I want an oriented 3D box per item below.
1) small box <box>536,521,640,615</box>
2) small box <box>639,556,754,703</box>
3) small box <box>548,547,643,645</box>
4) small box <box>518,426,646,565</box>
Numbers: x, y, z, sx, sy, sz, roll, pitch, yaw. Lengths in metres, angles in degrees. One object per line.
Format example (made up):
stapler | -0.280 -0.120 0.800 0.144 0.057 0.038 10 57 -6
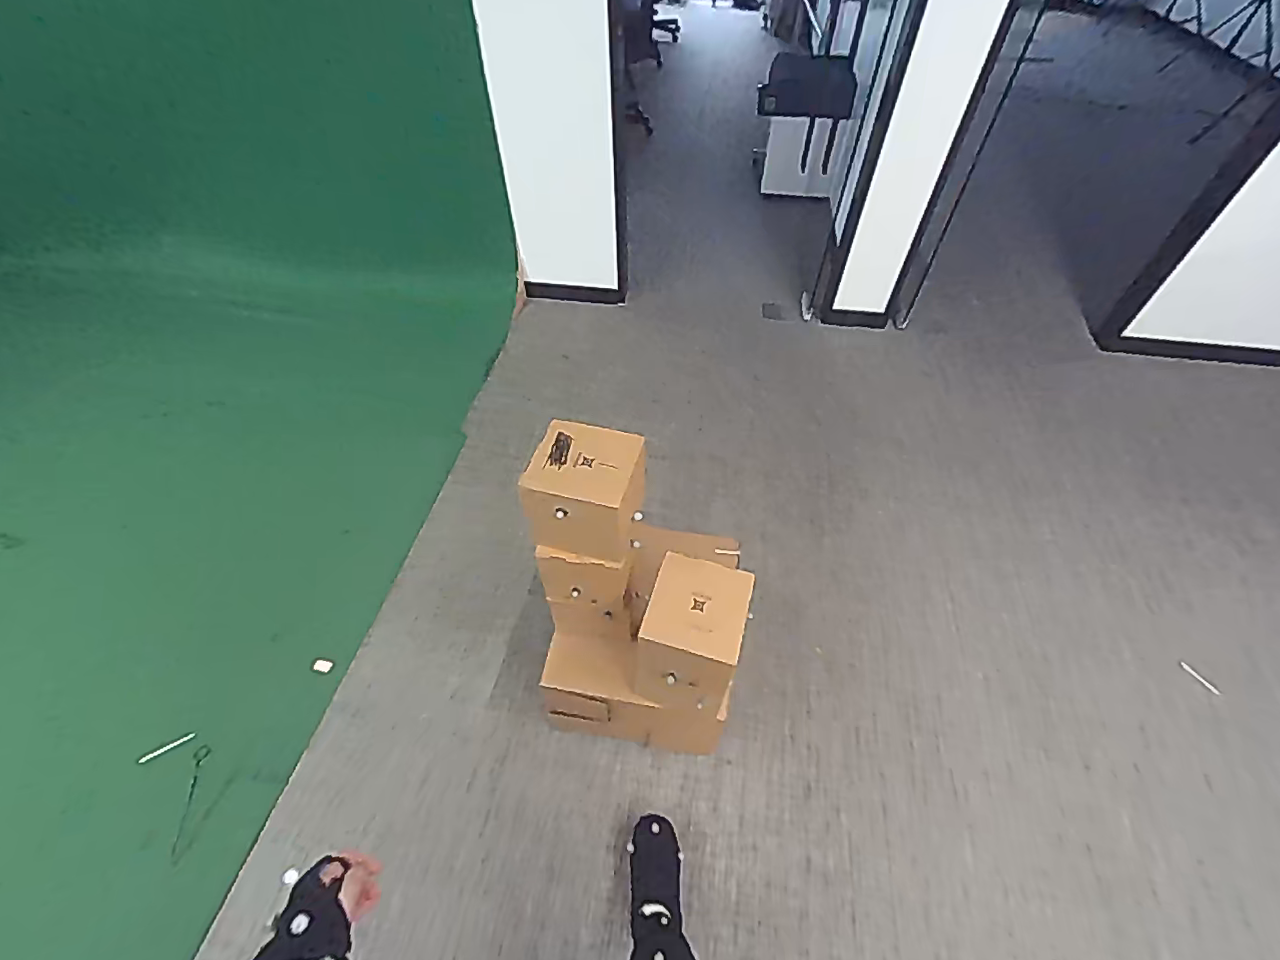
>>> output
small box | -0.096 0.145 1.087 0.168 0.176 0.179 8 50 7
small box | 0.098 0.271 0.977 0.168 0.176 0.179 14 51 12
small box | -0.092 0.252 1.210 0.179 0.176 0.168 7 48 6
small box | -0.094 0.031 0.969 0.179 0.176 0.168 12 51 10
